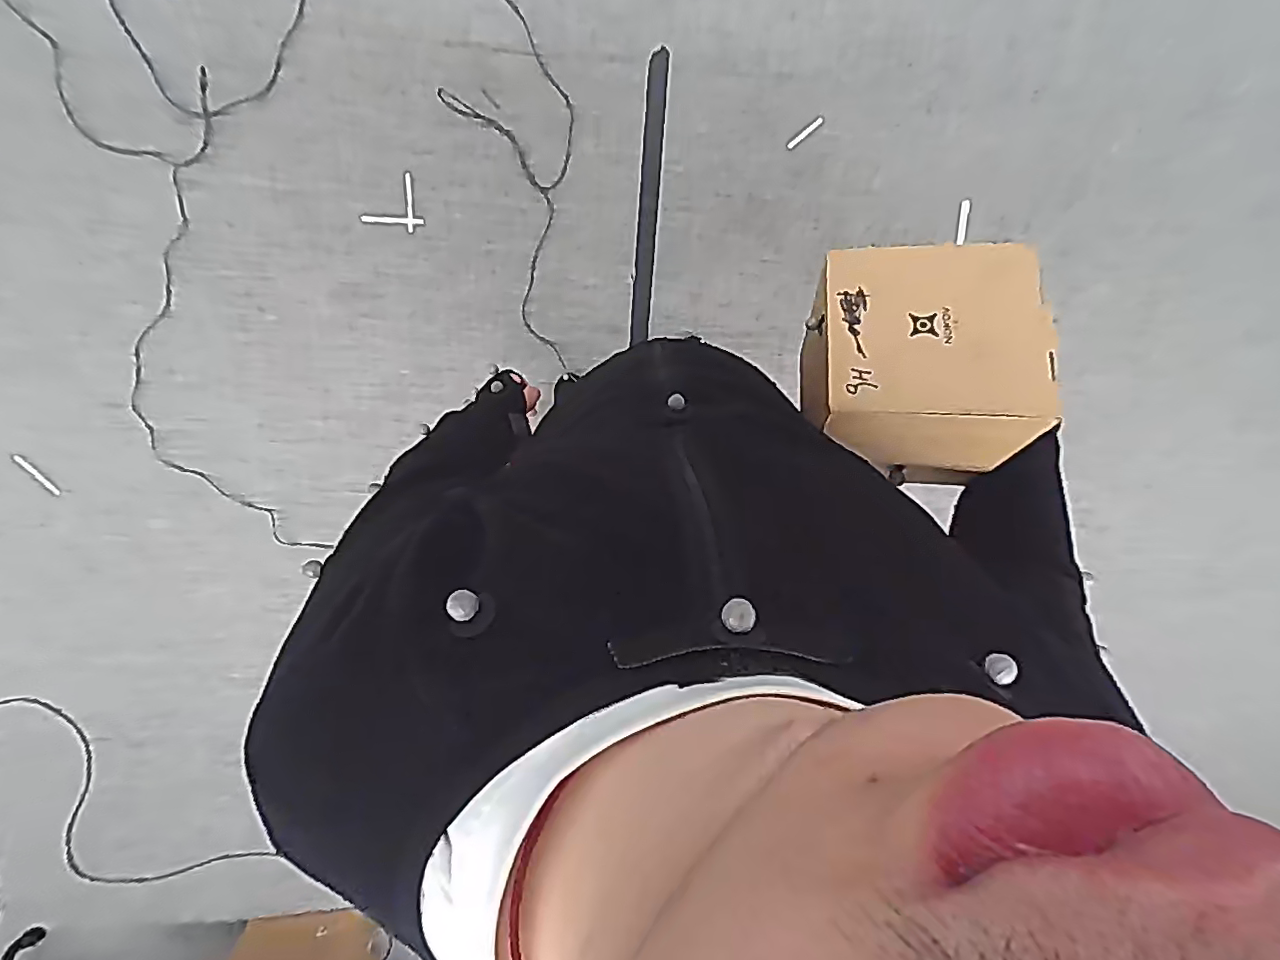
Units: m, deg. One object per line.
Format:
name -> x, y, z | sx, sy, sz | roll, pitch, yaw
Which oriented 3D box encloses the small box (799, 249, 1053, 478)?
small box -> 0.265, -0.107, 0.545 | 0.179, 0.176, 0.168 | 3, 71, 9
